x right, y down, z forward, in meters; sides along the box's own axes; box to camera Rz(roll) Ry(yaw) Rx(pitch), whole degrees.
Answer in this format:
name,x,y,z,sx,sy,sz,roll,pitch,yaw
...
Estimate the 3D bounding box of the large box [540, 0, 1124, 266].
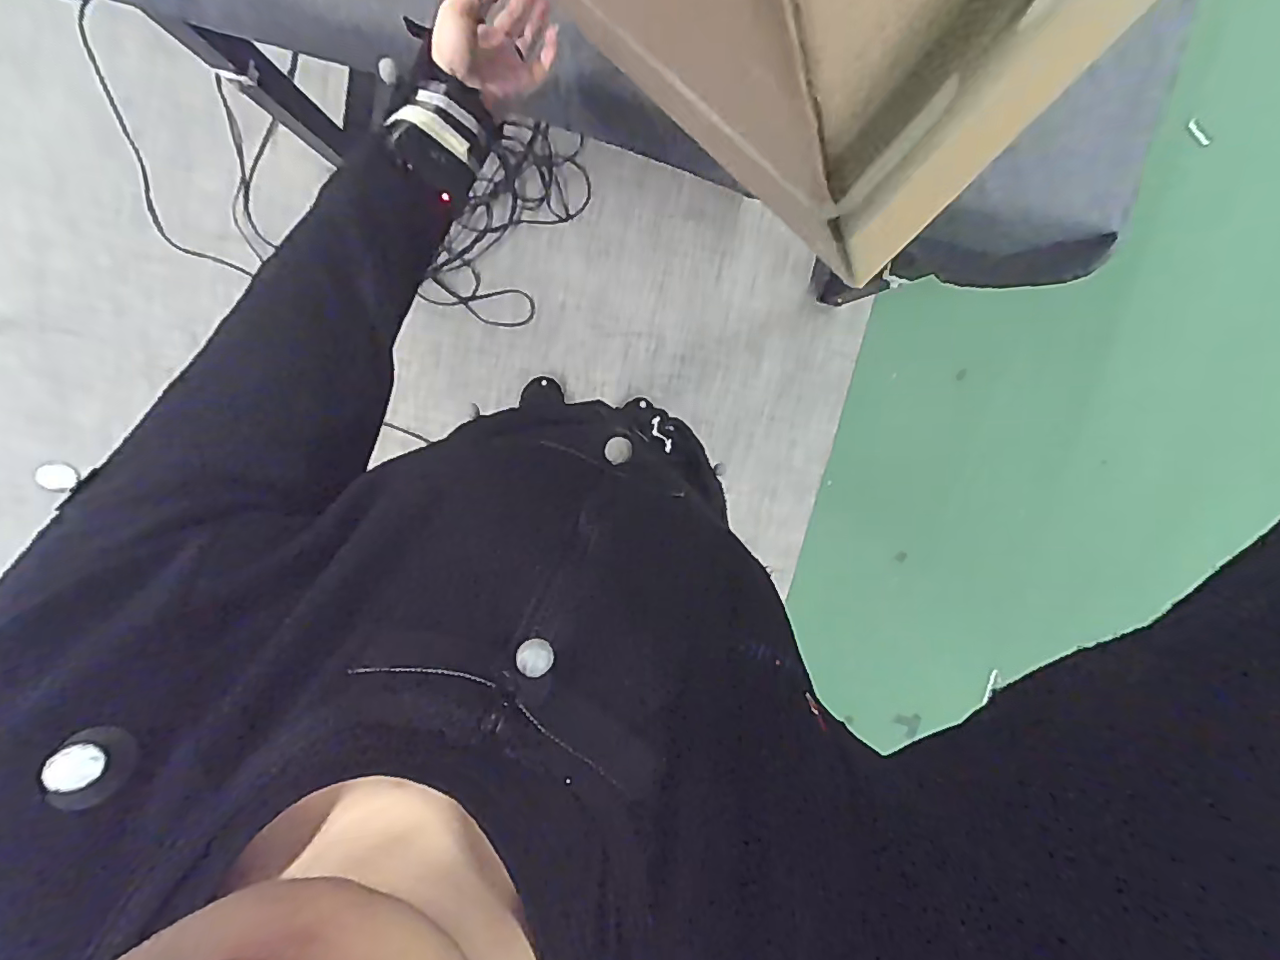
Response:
name,x,y,z,sx,sy,sz,roll,pitch,yaw
large box,0.053,-0.360,0.211,0.408,0.320,0.320,47,112,12
